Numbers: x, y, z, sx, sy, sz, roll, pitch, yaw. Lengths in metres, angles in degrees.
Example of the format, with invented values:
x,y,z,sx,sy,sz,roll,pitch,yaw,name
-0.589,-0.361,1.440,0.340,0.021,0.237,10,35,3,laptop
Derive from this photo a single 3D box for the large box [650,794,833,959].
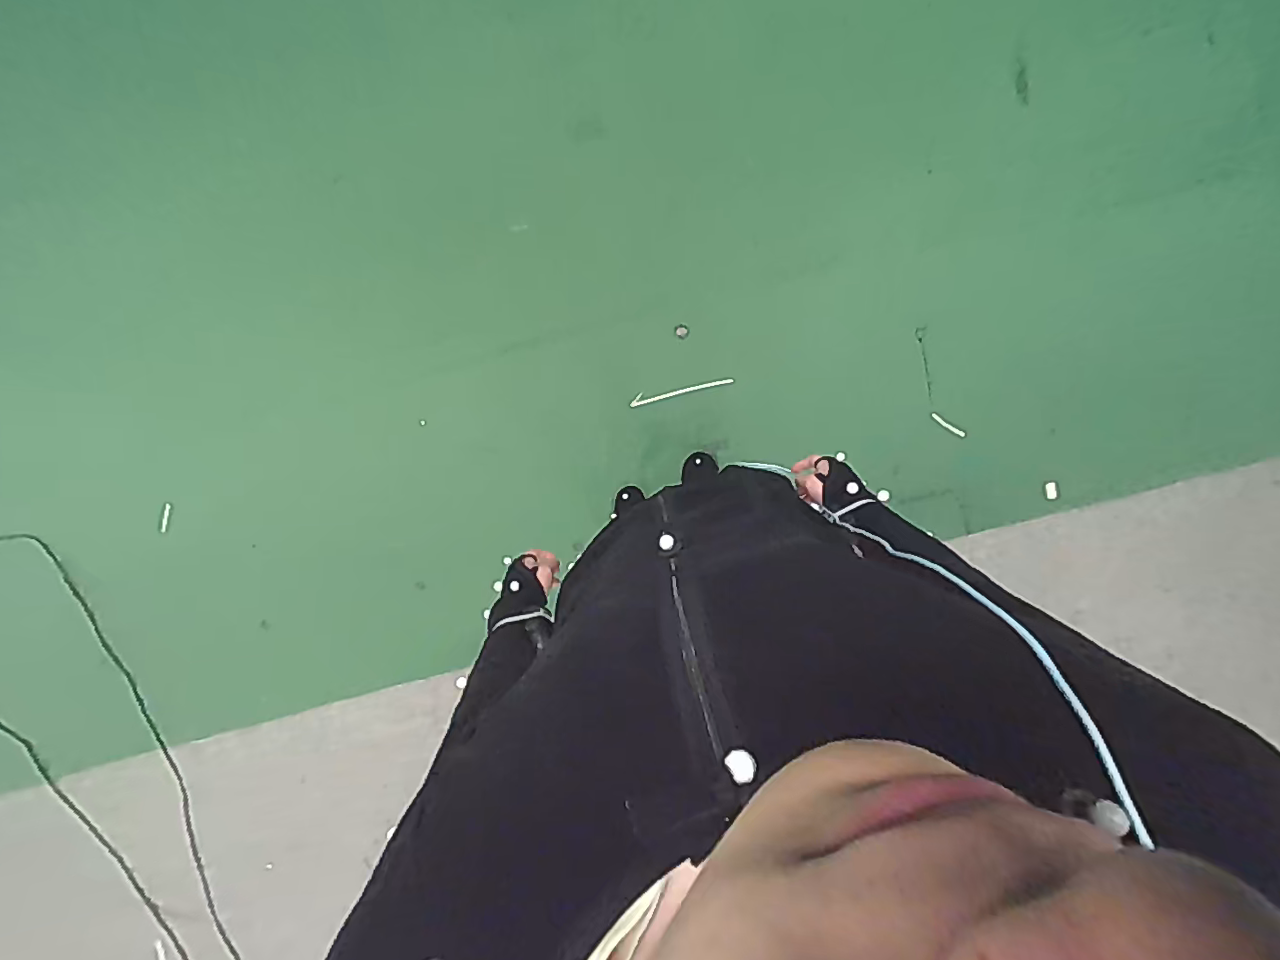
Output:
x,y,z,sx,sy,sz,roll,pitch,yaw,name
0.263,1.168,1.522,0.408,0.320,0.320,-16,91,-1,large box
